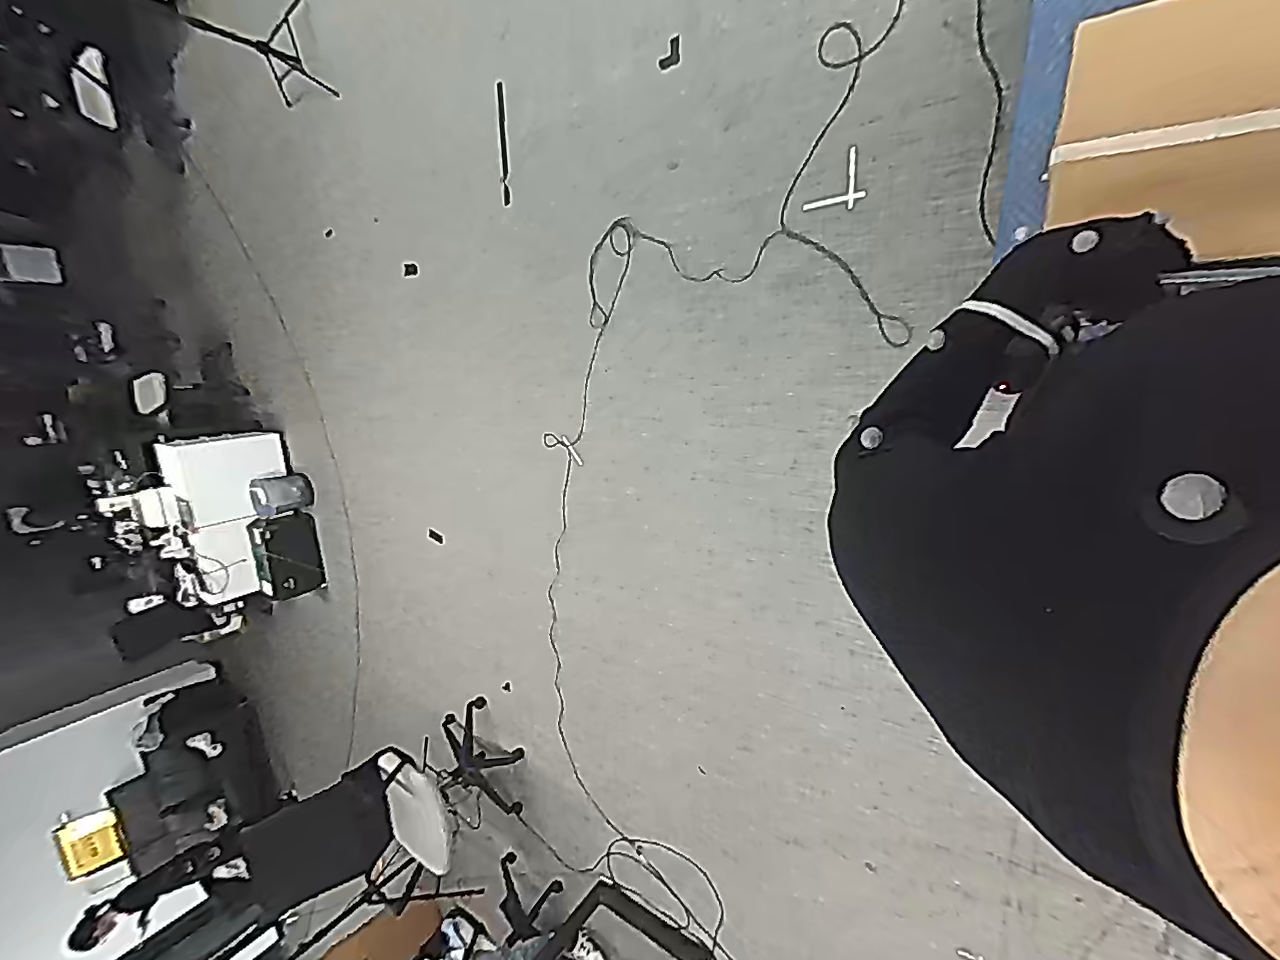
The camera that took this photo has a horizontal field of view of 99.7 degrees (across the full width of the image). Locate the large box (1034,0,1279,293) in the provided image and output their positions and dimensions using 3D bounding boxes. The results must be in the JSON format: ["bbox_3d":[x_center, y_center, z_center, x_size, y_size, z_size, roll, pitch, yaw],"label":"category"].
[{"bbox_3d":[0.816,-0.448,0.756,0.408,0.320,0.320,9,108,34],"label":"large box"}]
